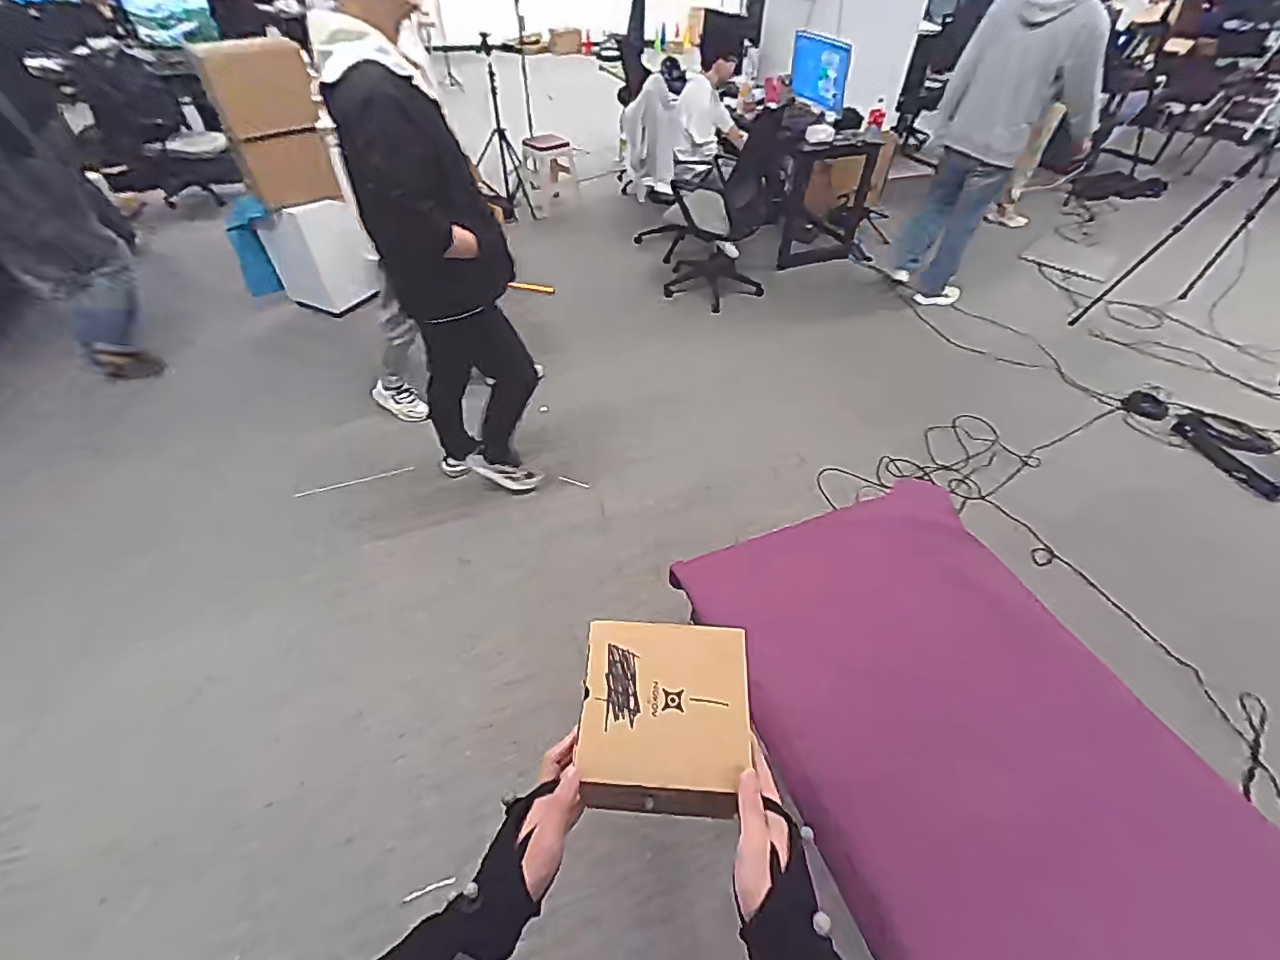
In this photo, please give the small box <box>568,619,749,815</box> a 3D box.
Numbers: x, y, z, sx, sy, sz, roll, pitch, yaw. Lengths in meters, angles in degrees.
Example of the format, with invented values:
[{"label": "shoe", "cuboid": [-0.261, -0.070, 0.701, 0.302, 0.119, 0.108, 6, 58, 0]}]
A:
[{"label": "small box", "cuboid": [0.023, 0.276, 0.623, 0.179, 0.176, 0.168, 3, 51, 2]}]
